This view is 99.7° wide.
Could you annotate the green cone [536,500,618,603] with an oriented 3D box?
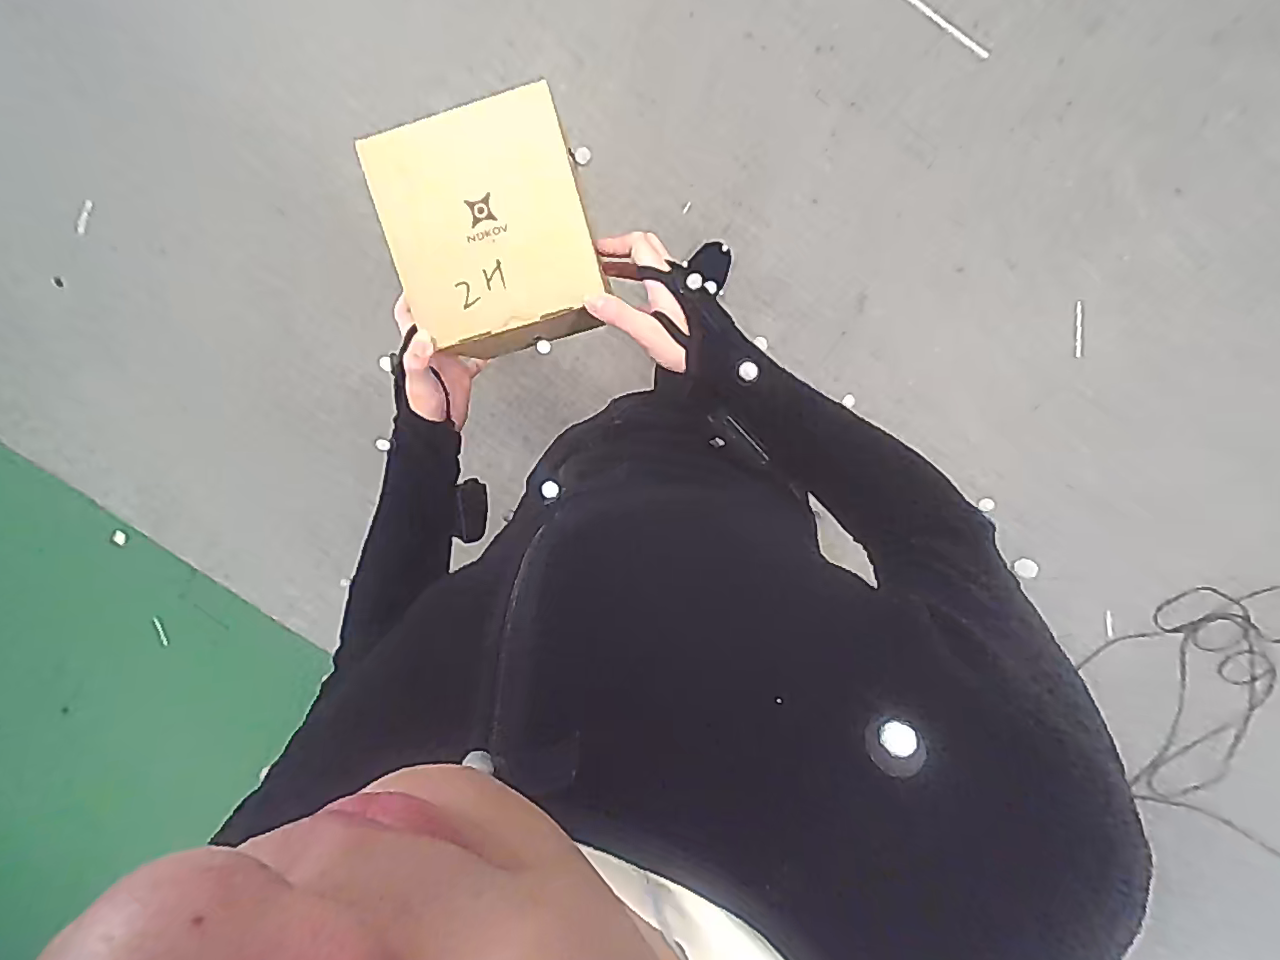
[{"bbox_3d":[-0.209,0.234,1.497,0.202,0.368,0.200,35,107,-6],"label":"green cone"}]
